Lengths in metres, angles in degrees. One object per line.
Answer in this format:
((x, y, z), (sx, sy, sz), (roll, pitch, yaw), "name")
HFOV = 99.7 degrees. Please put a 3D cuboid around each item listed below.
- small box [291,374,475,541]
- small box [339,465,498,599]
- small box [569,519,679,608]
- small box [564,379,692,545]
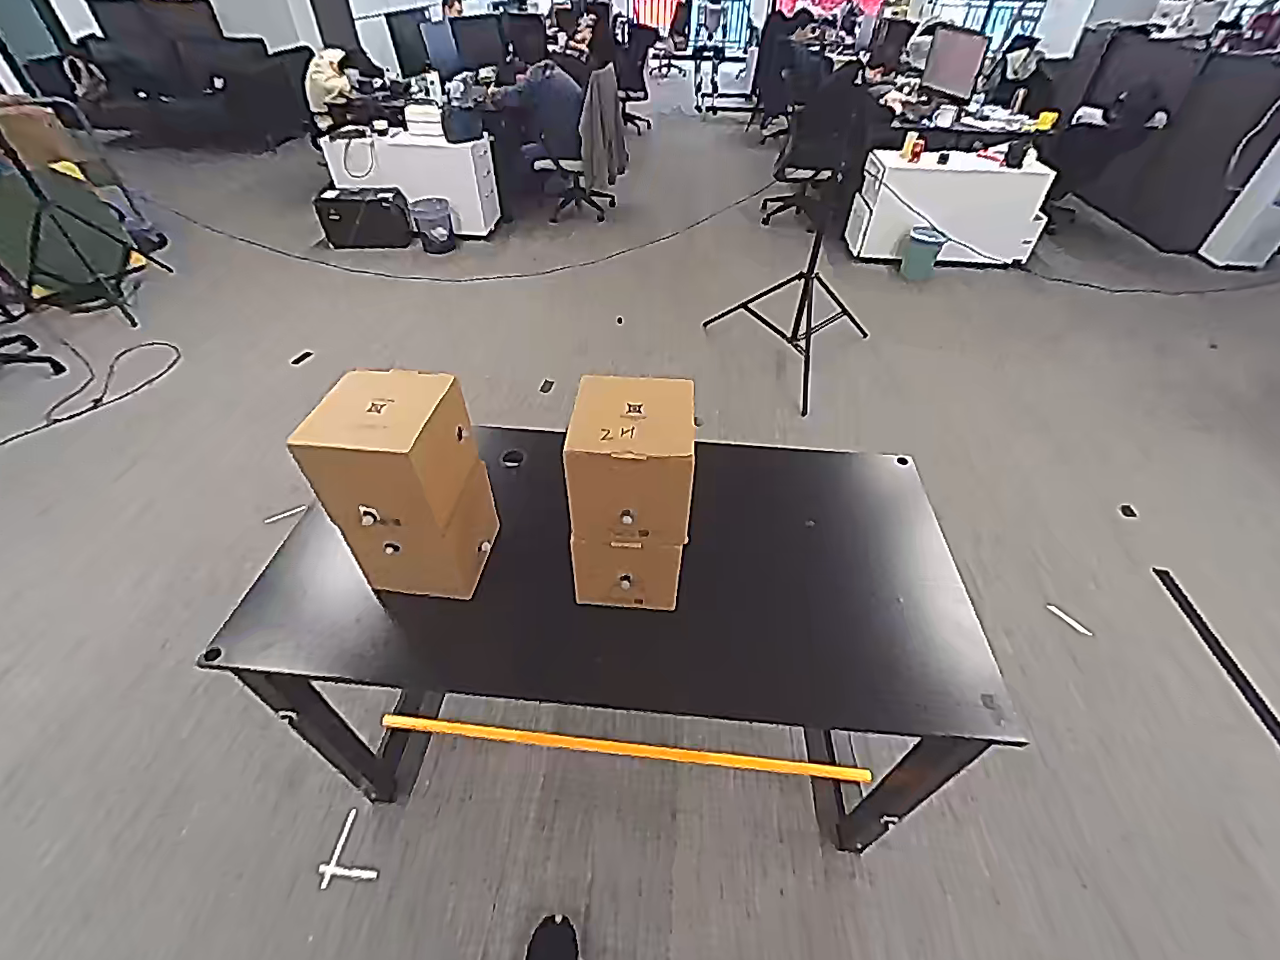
((-0.356, -0.034, 0.794), (0.168, 0.176, 0.179), (3, 45, 4), "small box")
((-0.356, 0.082, 0.907), (0.179, 0.176, 0.168), (6, 44, 3), "small box")
((-0.018, 0.096, 0.903), (0.168, 0.176, 0.179), (3, 44, 2), "small box")
((-0.012, -0.028, 0.793), (0.168, 0.176, 0.179), (3, 43, 3), "small box")
